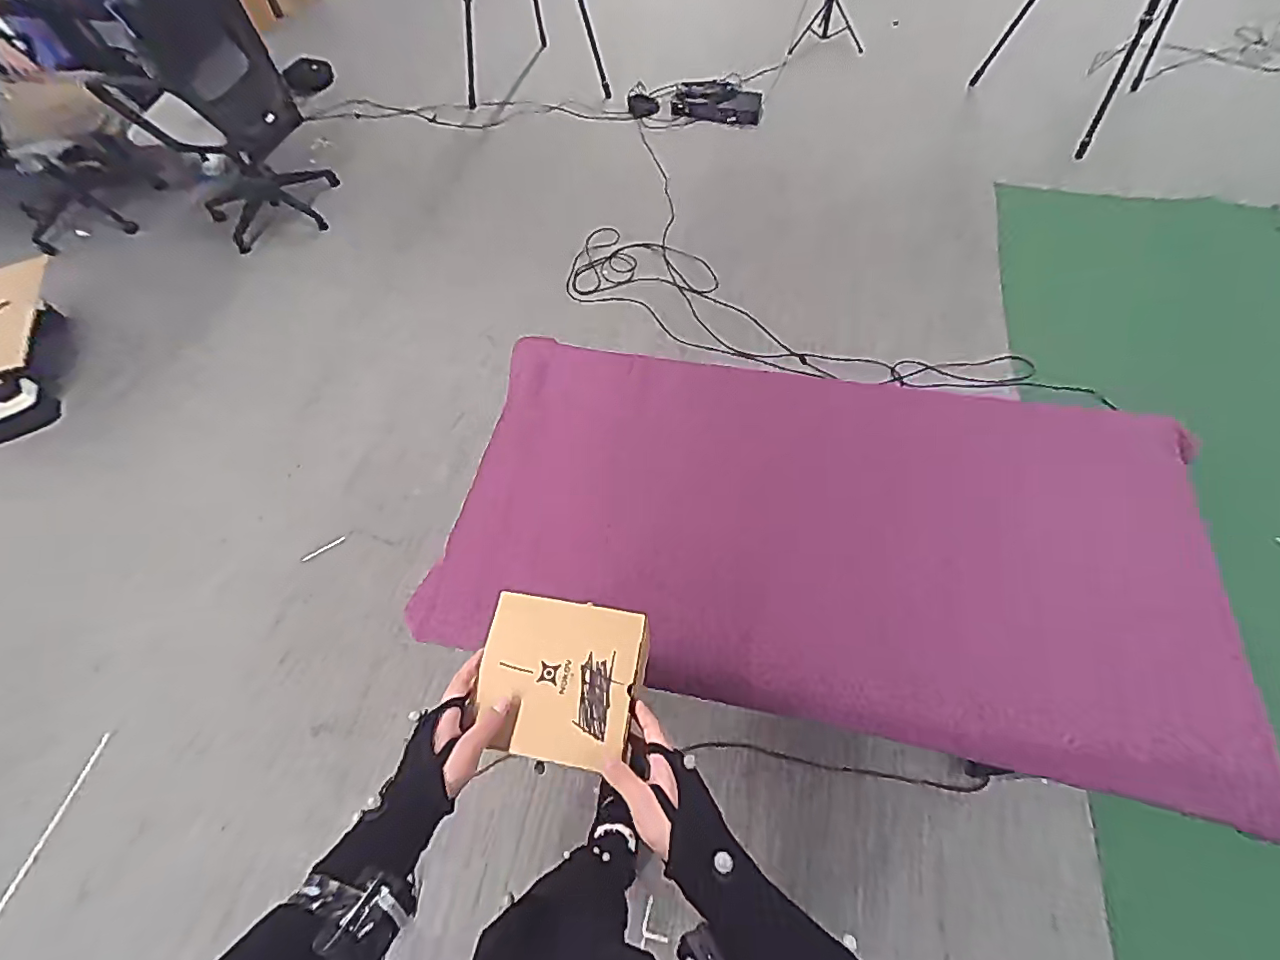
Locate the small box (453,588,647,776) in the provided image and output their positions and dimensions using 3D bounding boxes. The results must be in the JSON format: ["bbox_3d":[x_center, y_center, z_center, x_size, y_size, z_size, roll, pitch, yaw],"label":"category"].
[{"bbox_3d":[-0.090,0.246,0.652,0.179,0.176,0.168,9,62,7],"label":"small box"}]
